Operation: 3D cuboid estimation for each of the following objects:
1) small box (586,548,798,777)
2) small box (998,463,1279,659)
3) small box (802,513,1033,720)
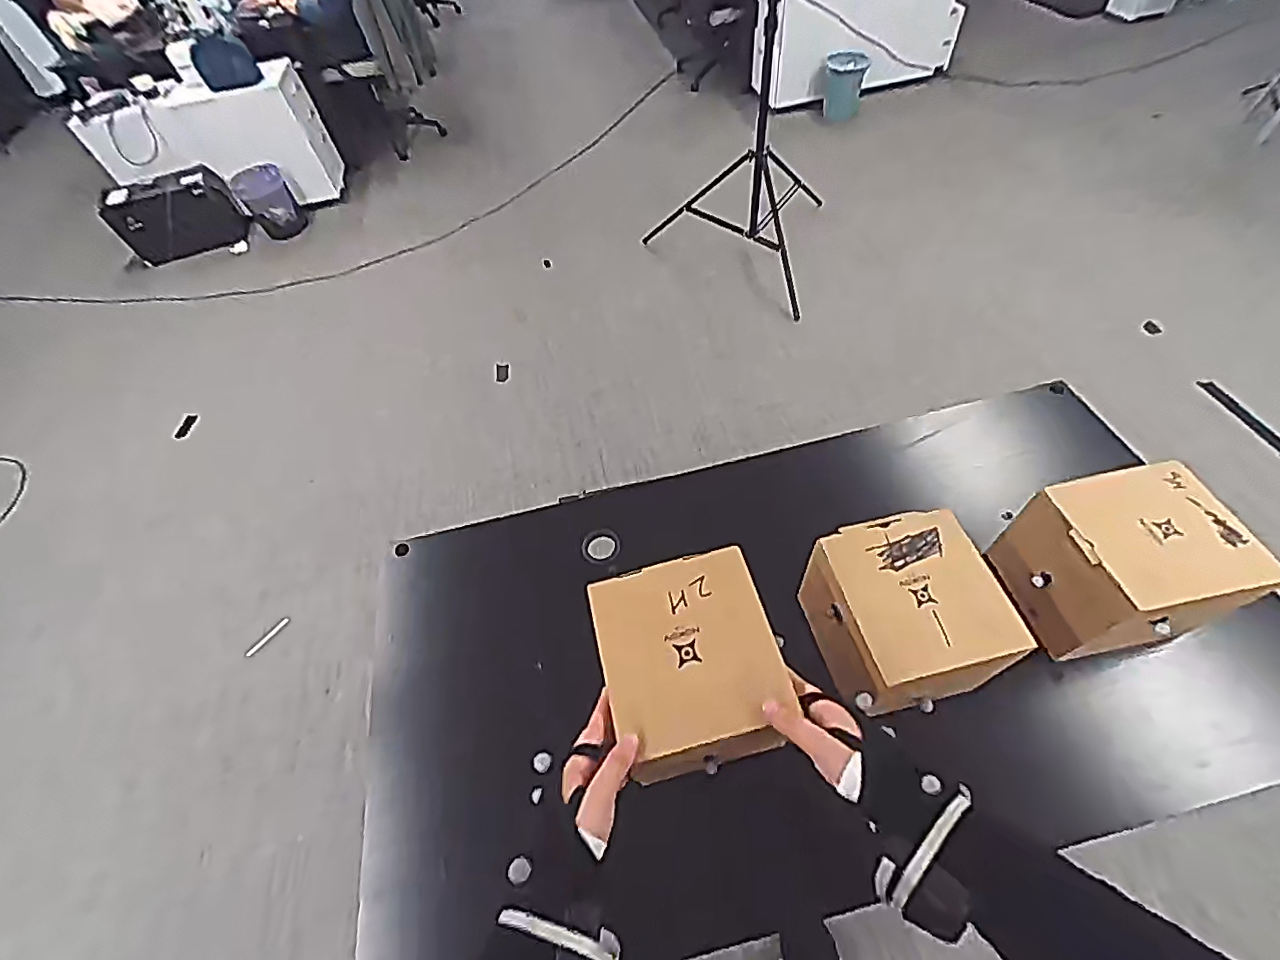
[{"bbox_3d":[0.050,0.201,0.573,0.168,0.176,0.179,-14,56,-2],"label":"small box"},{"bbox_3d":[0.587,0.107,0.673,0.179,0.176,0.168,-12,54,0],"label":"small box"},{"bbox_3d":[0.313,0.170,0.662,0.168,0.176,0.179,-14,55,-2],"label":"small box"}]
